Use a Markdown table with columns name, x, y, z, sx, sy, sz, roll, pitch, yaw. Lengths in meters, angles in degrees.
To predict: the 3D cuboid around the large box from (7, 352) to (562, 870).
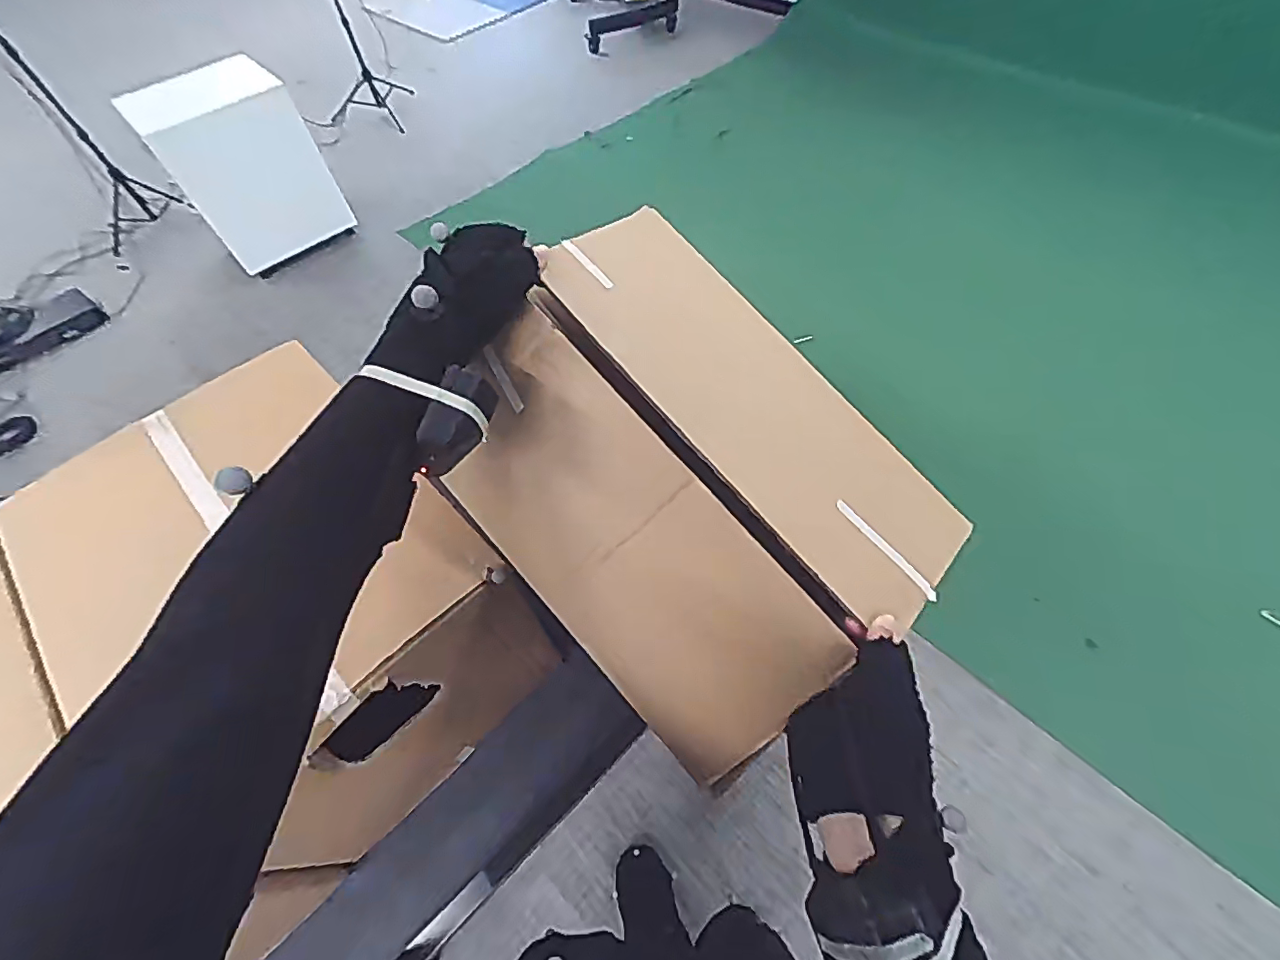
| name | x | y | z | sx | sy | sz | roll | pitch | yaw |
| --- | --- | --- | --- | --- | --- | --- | --- | --- | --- |
| large box | -0.349 | 0.135 | 0.613 | 0.408 | 0.320 | 0.320 | 39 | 67 | 24 |
